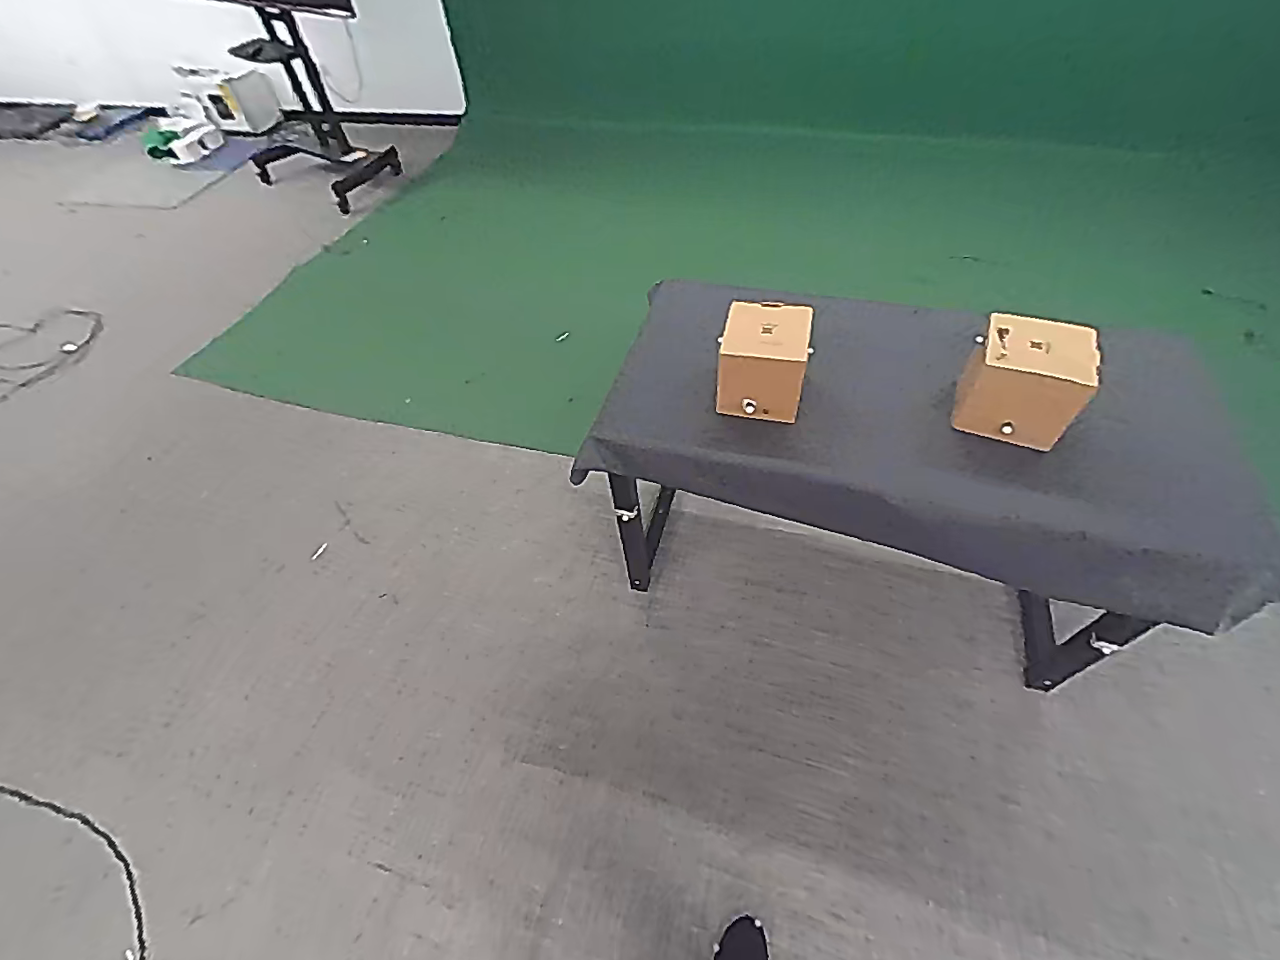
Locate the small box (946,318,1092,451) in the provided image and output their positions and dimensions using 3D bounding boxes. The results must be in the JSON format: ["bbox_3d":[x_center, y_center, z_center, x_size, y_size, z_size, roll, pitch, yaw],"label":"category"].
[{"bbox_3d":[0.723,-0.180,1.041,0.179,0.176,0.168,19,56,18],"label":"small box"}]

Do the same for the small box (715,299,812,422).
[{"bbox_3d":[0.250,-0.247,1.115,0.168,0.176,0.179,9,53,14],"label":"small box"}]
